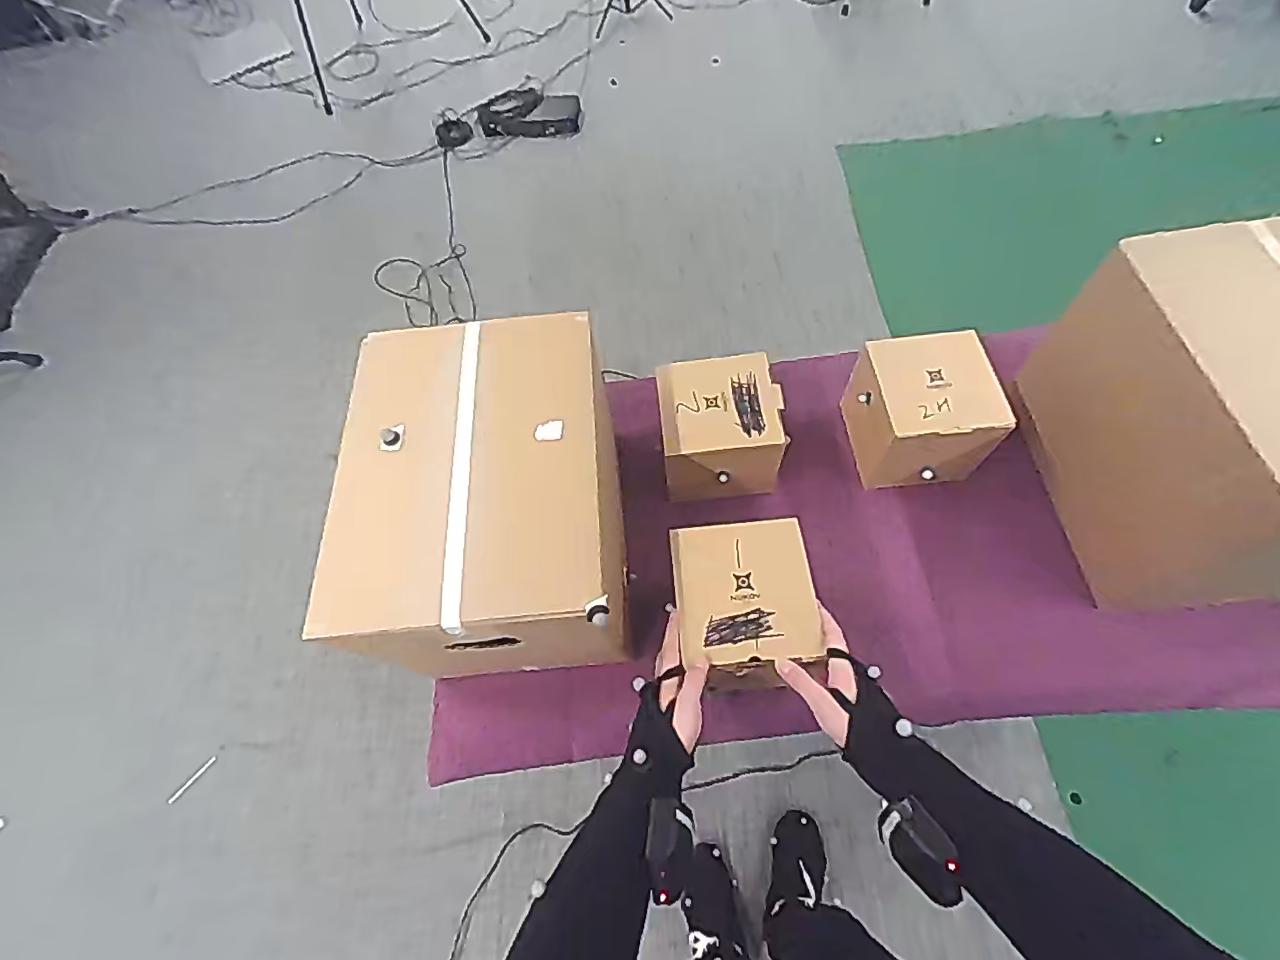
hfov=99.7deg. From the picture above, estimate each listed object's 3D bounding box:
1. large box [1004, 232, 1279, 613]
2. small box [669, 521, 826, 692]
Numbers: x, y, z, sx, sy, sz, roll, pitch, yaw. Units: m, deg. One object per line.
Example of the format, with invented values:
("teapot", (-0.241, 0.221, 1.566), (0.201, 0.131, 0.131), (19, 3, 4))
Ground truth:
("large box", (0.780, -0.064, 0.720), (0.320, 0.320, 0.408), (-6, 63, 5))
("small box", (0.130, 0.174, 0.711), (0.168, 0.176, 0.179), (-6, 59, 3))
